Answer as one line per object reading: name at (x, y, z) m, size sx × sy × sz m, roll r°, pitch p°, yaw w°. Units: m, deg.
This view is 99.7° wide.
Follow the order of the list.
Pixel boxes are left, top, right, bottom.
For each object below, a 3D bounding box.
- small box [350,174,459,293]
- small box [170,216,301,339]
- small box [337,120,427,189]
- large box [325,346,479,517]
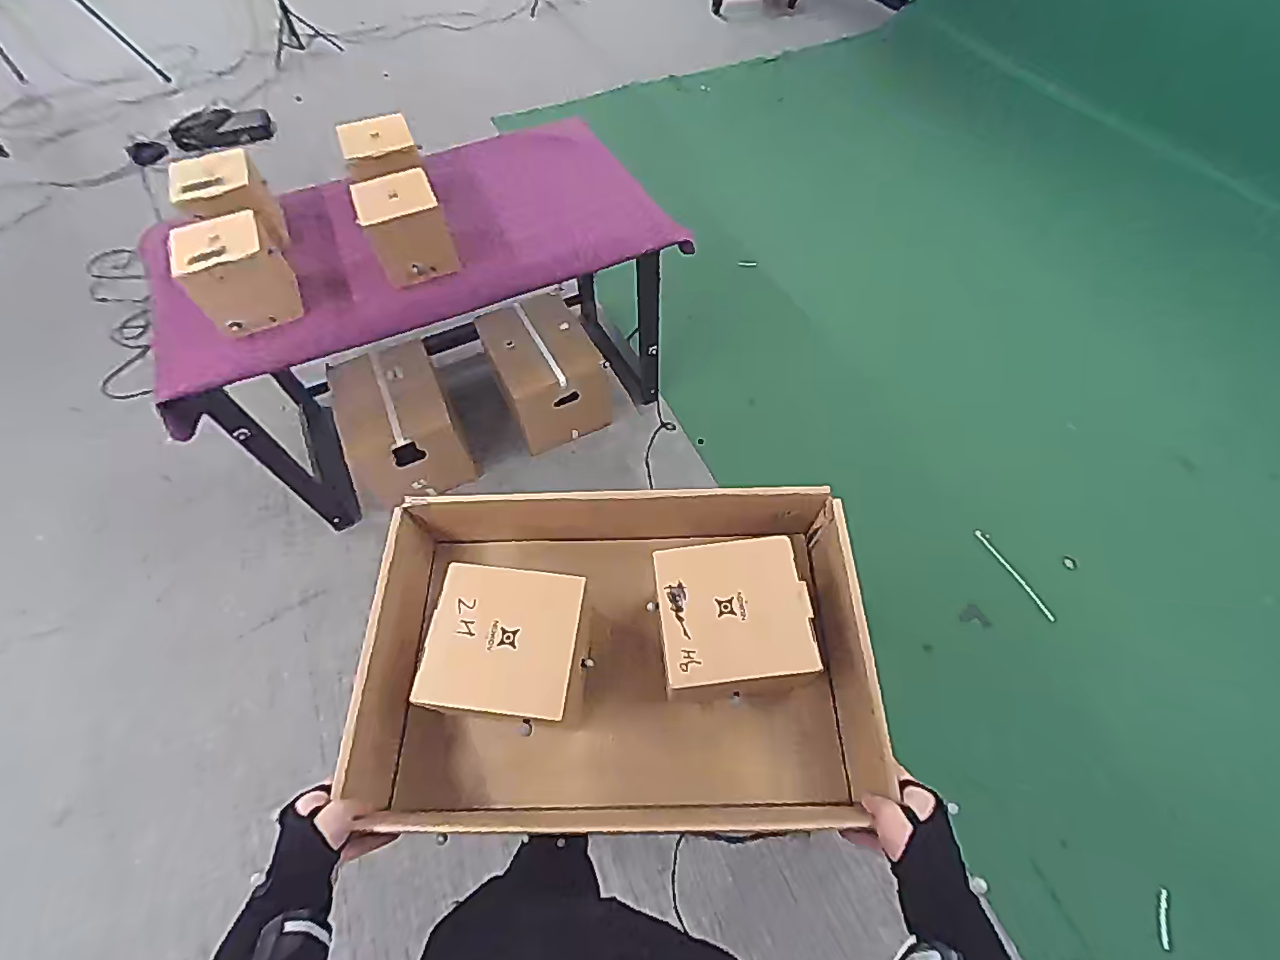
small box at (-0.539, -0.565, 1.247) m, size 0.168 × 0.176 × 0.179 m, roll -22°, pitch 59°, yaw -11°
small box at (-0.866, -0.429, 1.168) m, size 0.168 × 0.176 × 0.179 m, roll -23°, pitch 59°, yaw -13°
small box at (-0.645, -0.779, 1.384) m, size 0.168 × 0.176 × 0.179 m, roll -21°, pitch 61°, yaw -12°
large box at (-0.773, -0.158, 1.779) m, size 0.320 × 0.320 × 0.408 m, roll -23°, pitch 59°, yaw -13°
